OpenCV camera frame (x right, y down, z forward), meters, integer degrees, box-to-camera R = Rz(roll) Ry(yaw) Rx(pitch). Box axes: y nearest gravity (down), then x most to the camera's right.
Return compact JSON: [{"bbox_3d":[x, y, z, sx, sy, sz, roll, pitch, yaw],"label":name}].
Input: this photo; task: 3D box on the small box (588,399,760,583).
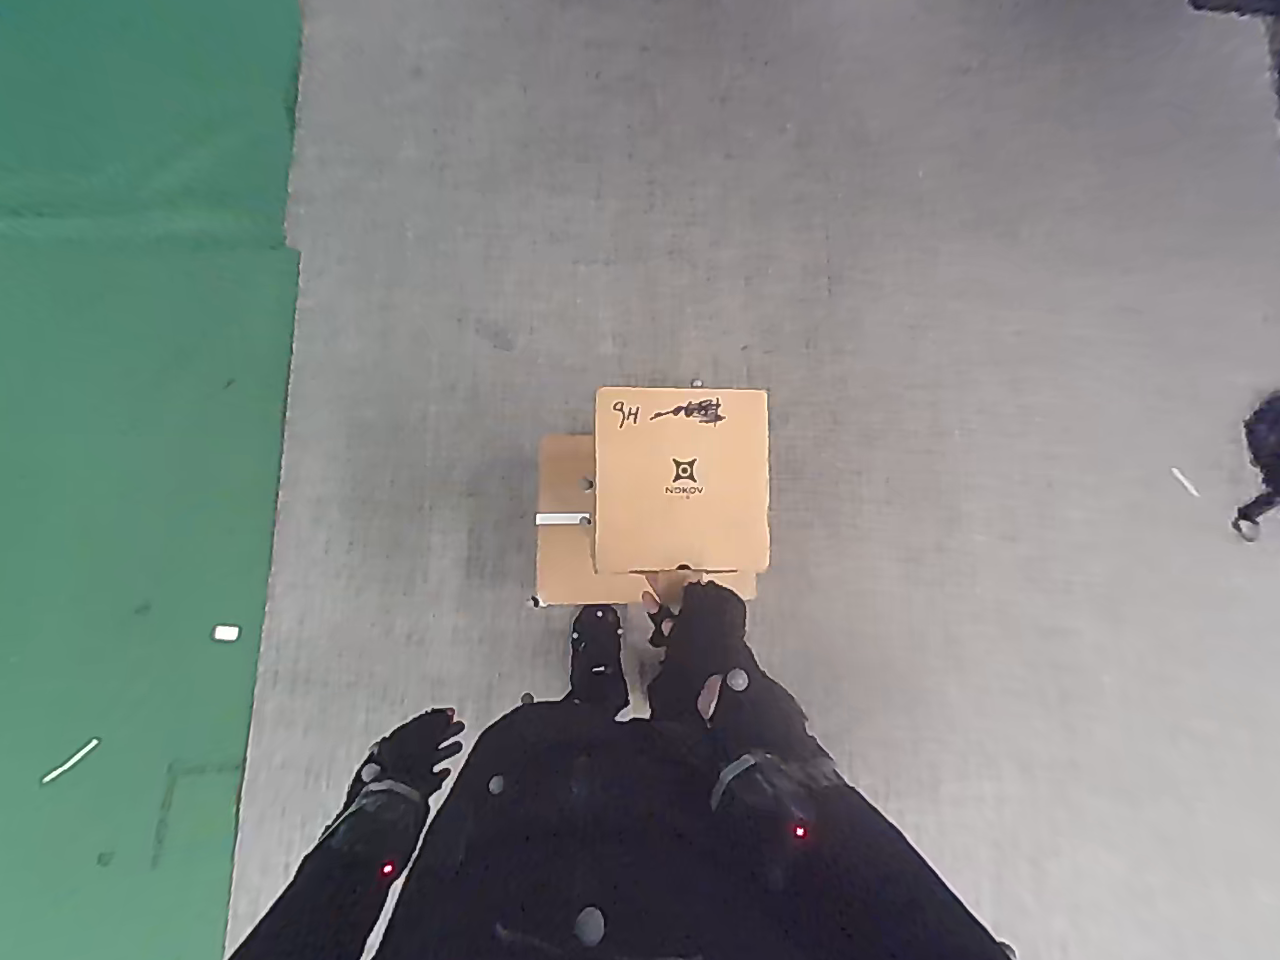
[{"bbox_3d":[0.027,0.011,0.593,0.168,0.176,0.179,0,89,-5],"label":"small box"}]
